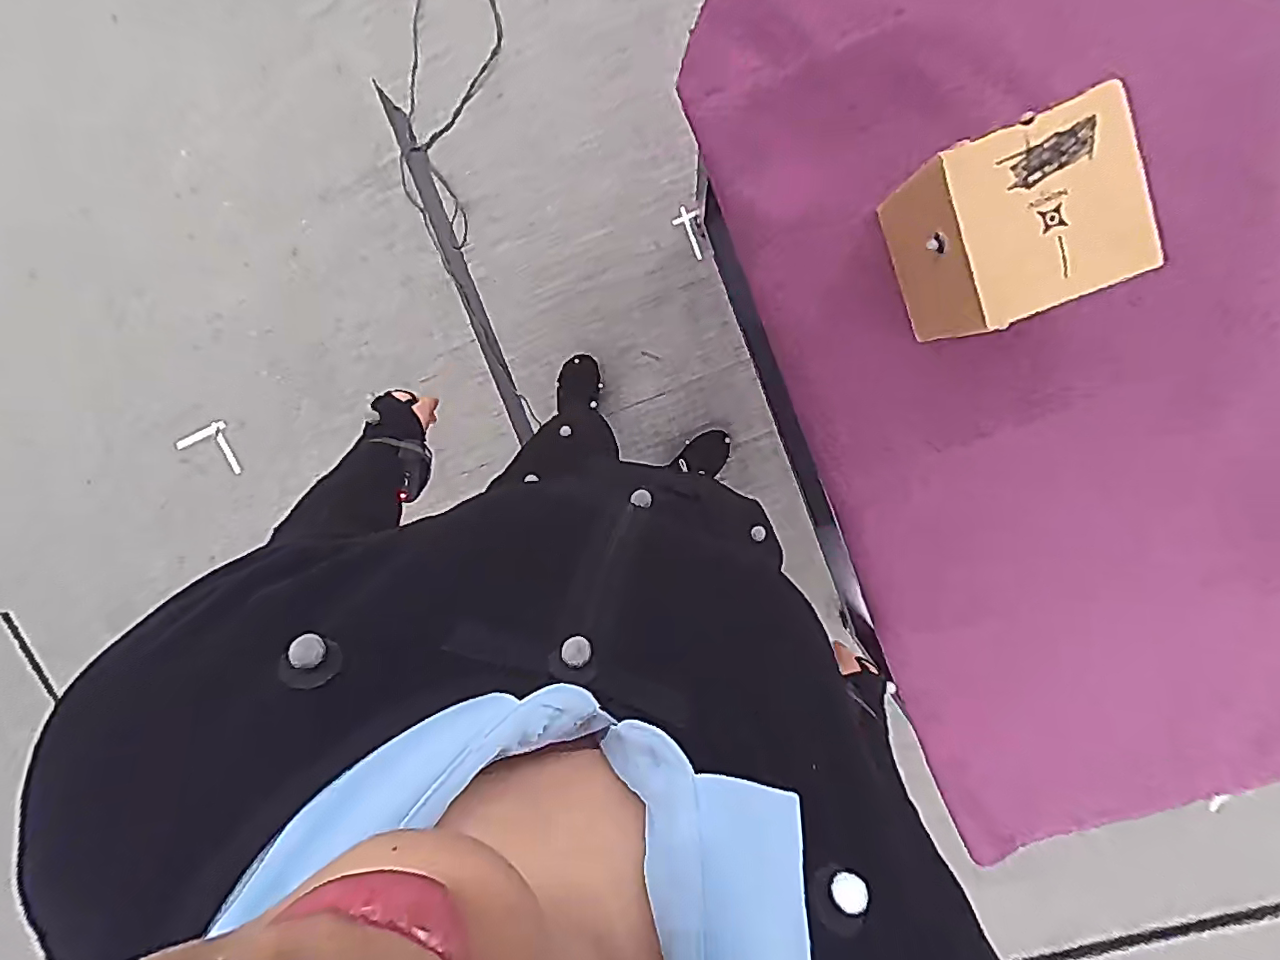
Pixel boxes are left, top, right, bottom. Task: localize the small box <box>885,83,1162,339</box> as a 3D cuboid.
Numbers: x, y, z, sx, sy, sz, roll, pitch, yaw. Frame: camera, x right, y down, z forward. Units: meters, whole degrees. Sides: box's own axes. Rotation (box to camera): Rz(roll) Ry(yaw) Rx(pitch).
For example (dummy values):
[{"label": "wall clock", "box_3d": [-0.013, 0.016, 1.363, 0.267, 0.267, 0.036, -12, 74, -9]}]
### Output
[{"label": "small box", "box_3d": [0.395, -0.269, 0.590, 0.168, 0.176, 0.179, -20, 98, 8]}]
